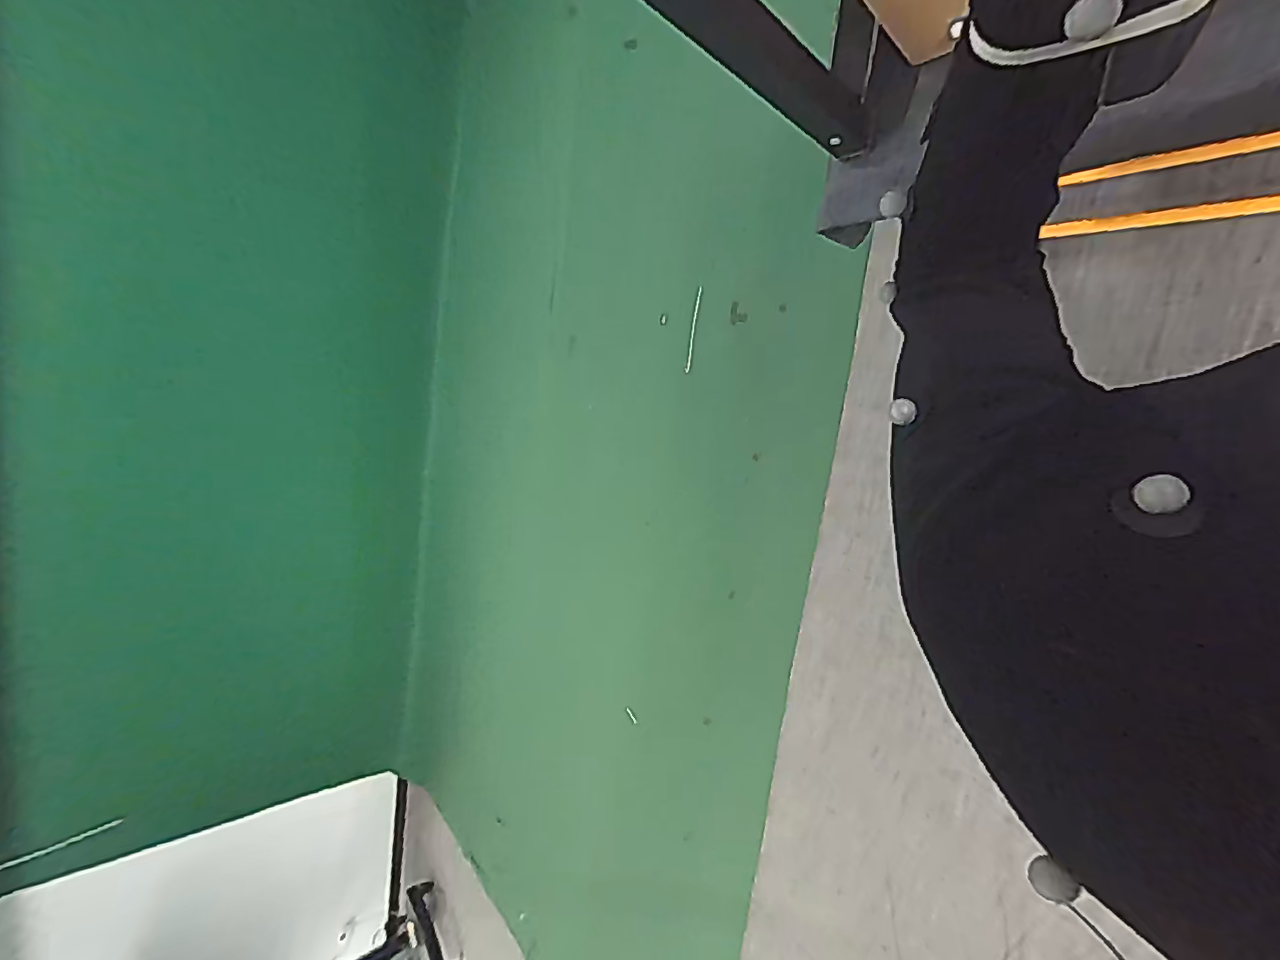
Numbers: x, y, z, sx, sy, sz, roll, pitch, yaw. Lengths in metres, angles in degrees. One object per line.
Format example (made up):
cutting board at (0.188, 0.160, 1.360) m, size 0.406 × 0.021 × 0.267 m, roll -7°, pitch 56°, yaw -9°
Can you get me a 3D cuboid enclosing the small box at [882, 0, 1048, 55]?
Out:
small box at (0.389, -0.667, 0.641) m, size 0.168 × 0.176 × 0.179 m, roll 12°, pitch 99°, yaw 47°
